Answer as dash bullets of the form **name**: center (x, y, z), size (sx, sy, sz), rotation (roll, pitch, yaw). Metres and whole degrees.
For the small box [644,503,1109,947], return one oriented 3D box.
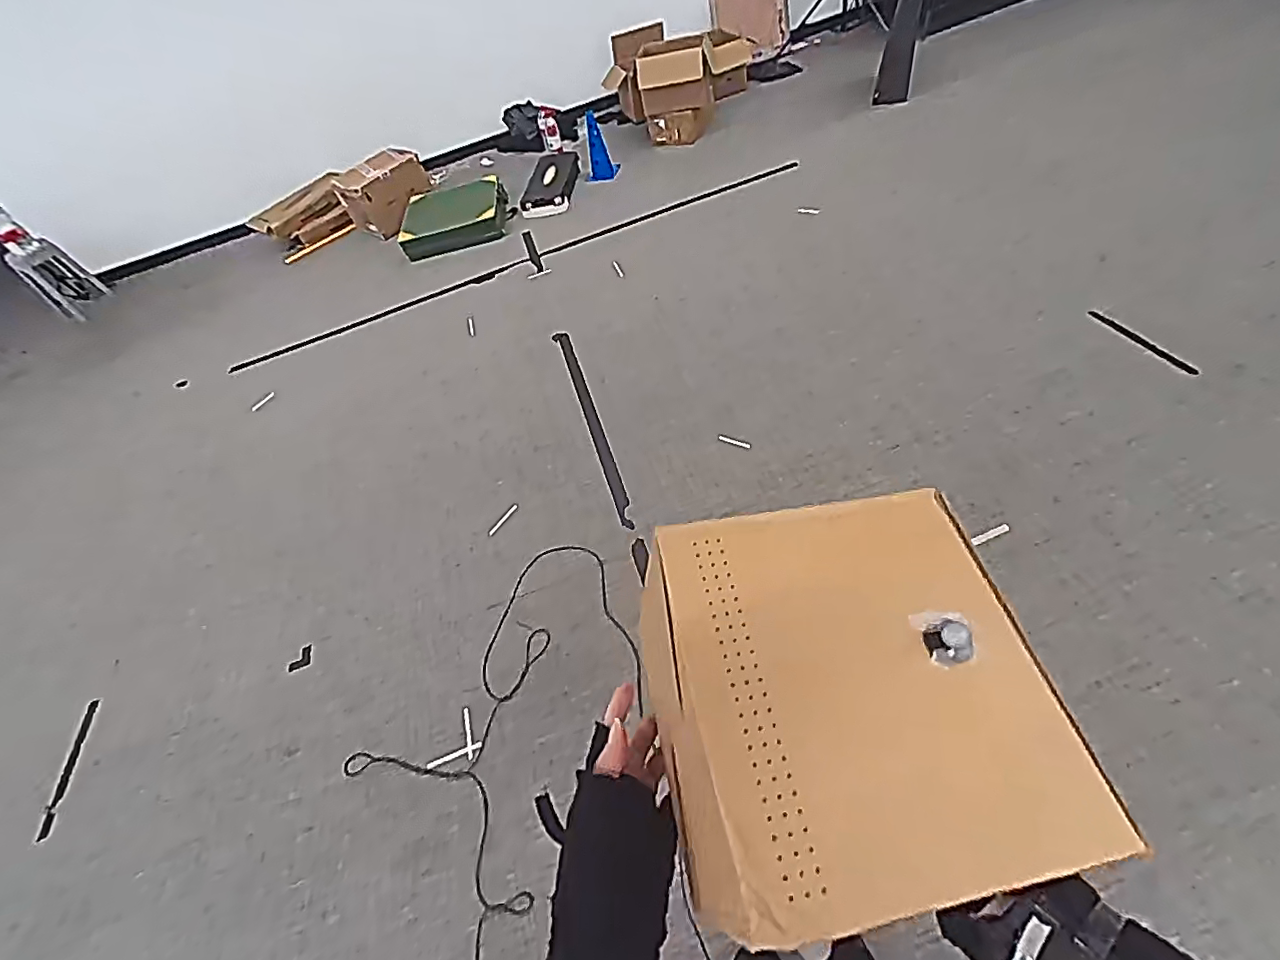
- **small box**: center (0.097, 0.138, 0.324), size (0.176, 0.168, 0.179), rotation (-8, 57, -8)
